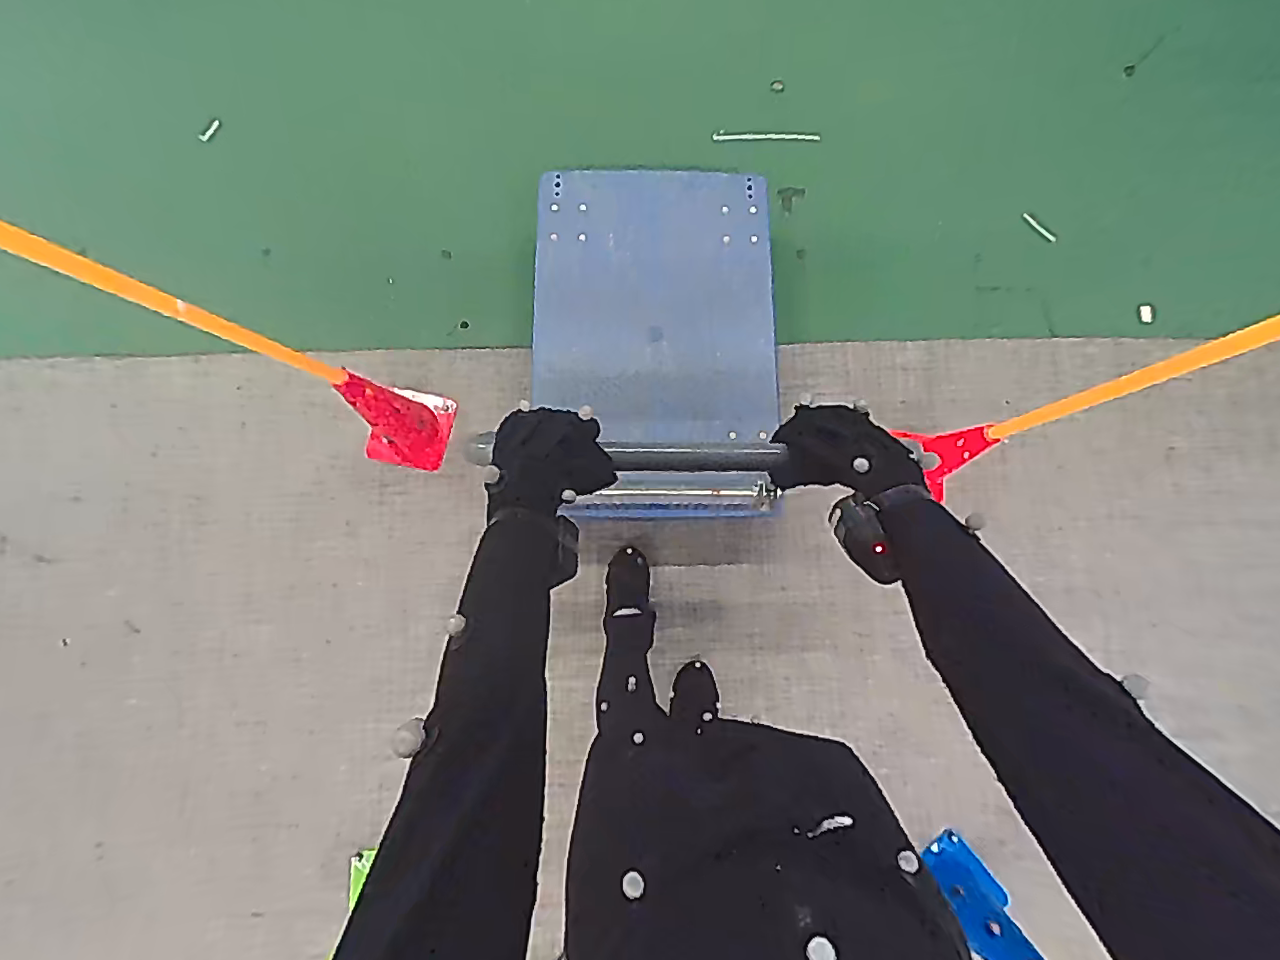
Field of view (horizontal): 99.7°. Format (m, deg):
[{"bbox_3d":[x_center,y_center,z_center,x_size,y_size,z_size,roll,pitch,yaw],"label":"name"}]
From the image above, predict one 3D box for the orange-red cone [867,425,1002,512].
[{"bbox_3d":[0.696,-0.056,1.237,0.198,0.360,0.199,10,80,2],"label":"orange-red cone"}]
